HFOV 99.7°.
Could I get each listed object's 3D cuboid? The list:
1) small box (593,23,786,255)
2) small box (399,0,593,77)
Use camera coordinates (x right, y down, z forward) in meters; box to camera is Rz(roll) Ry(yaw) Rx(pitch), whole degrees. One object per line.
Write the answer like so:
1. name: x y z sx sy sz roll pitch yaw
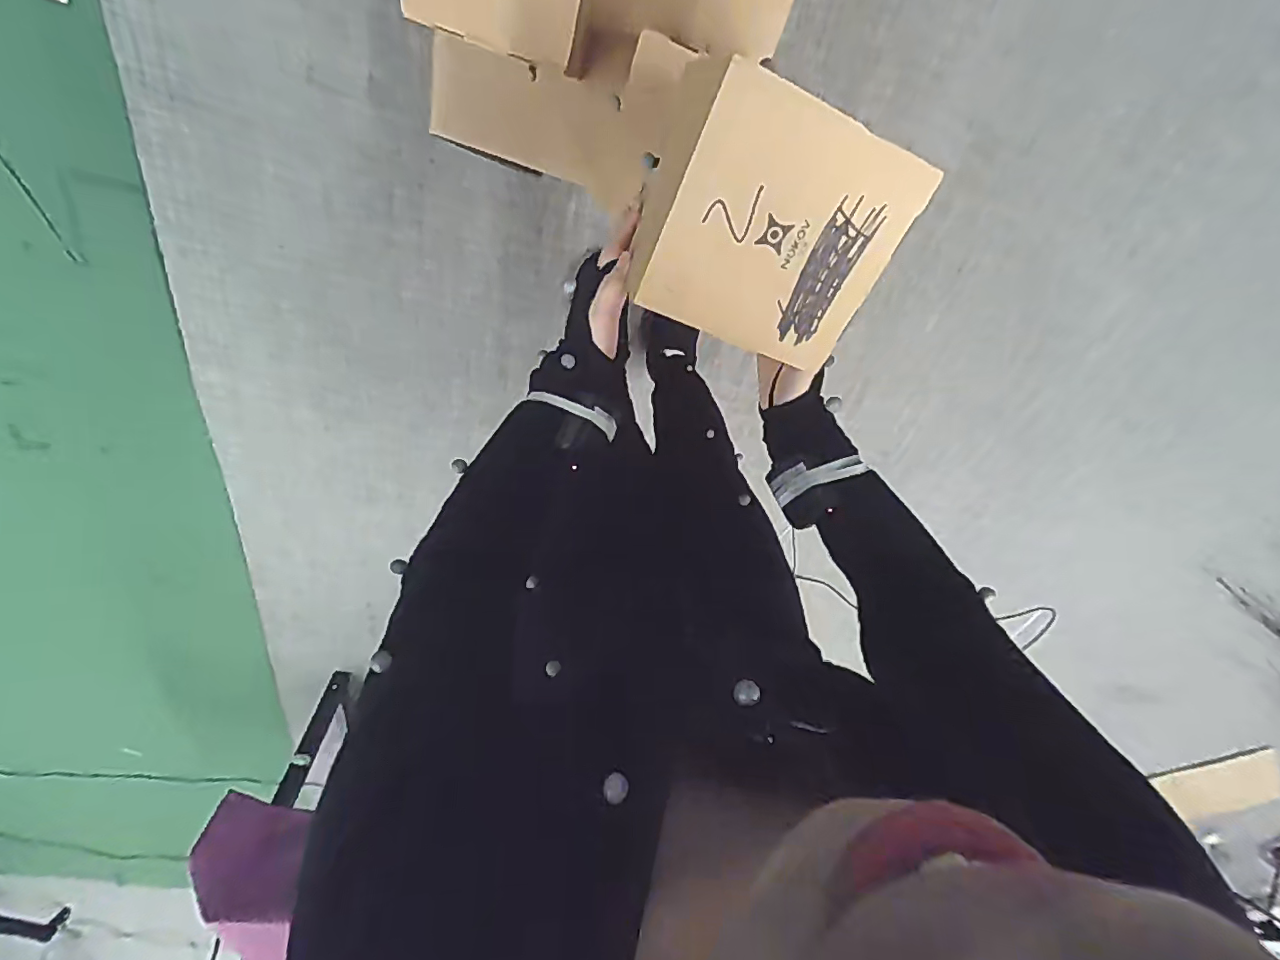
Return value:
1. small box: 0.046 -0.405 0.654 0.168 0.176 0.179 15 123 -13
2. small box: -0.130 -0.543 0.555 0.168 0.176 0.179 14 123 -11
